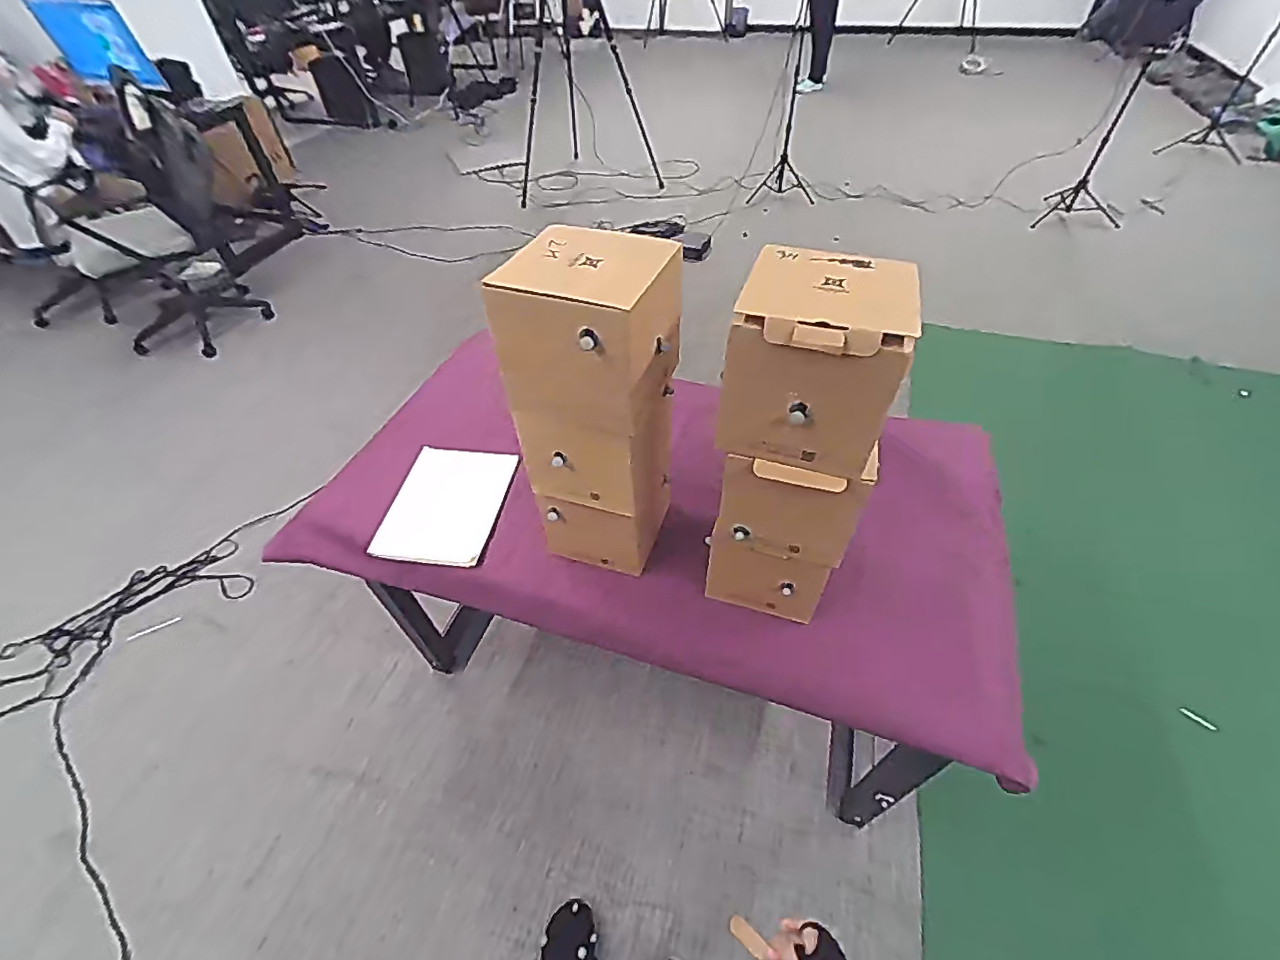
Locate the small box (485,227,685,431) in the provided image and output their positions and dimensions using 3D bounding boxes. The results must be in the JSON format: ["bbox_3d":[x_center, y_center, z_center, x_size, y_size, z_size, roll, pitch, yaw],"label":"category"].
[{"bbox_3d":[-0.055,-0.181,0.659,0.179,0.176,0.168,15,48,16],"label":"small box"}]

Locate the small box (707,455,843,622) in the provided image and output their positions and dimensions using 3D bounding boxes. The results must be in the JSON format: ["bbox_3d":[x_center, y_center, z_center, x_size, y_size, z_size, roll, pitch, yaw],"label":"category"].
[{"bbox_3d":[0.206,0.093,0.844,0.168,0.176,0.179,14,48,14],"label":"small box"}]

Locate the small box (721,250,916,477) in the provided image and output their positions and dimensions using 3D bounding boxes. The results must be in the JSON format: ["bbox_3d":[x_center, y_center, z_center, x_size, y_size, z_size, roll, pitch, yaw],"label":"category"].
[{"bbox_3d":[0.191,-0.129,0.604,0.168,0.176,0.179,15,50,13],"label":"small box"}]

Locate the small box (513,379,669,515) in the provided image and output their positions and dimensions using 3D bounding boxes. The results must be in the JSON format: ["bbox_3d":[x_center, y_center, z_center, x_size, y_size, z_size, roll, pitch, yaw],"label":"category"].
[{"bbox_3d":[-0.056,-0.074,0.785,0.168,0.176,0.179,14,48,14],"label":"small box"}]
